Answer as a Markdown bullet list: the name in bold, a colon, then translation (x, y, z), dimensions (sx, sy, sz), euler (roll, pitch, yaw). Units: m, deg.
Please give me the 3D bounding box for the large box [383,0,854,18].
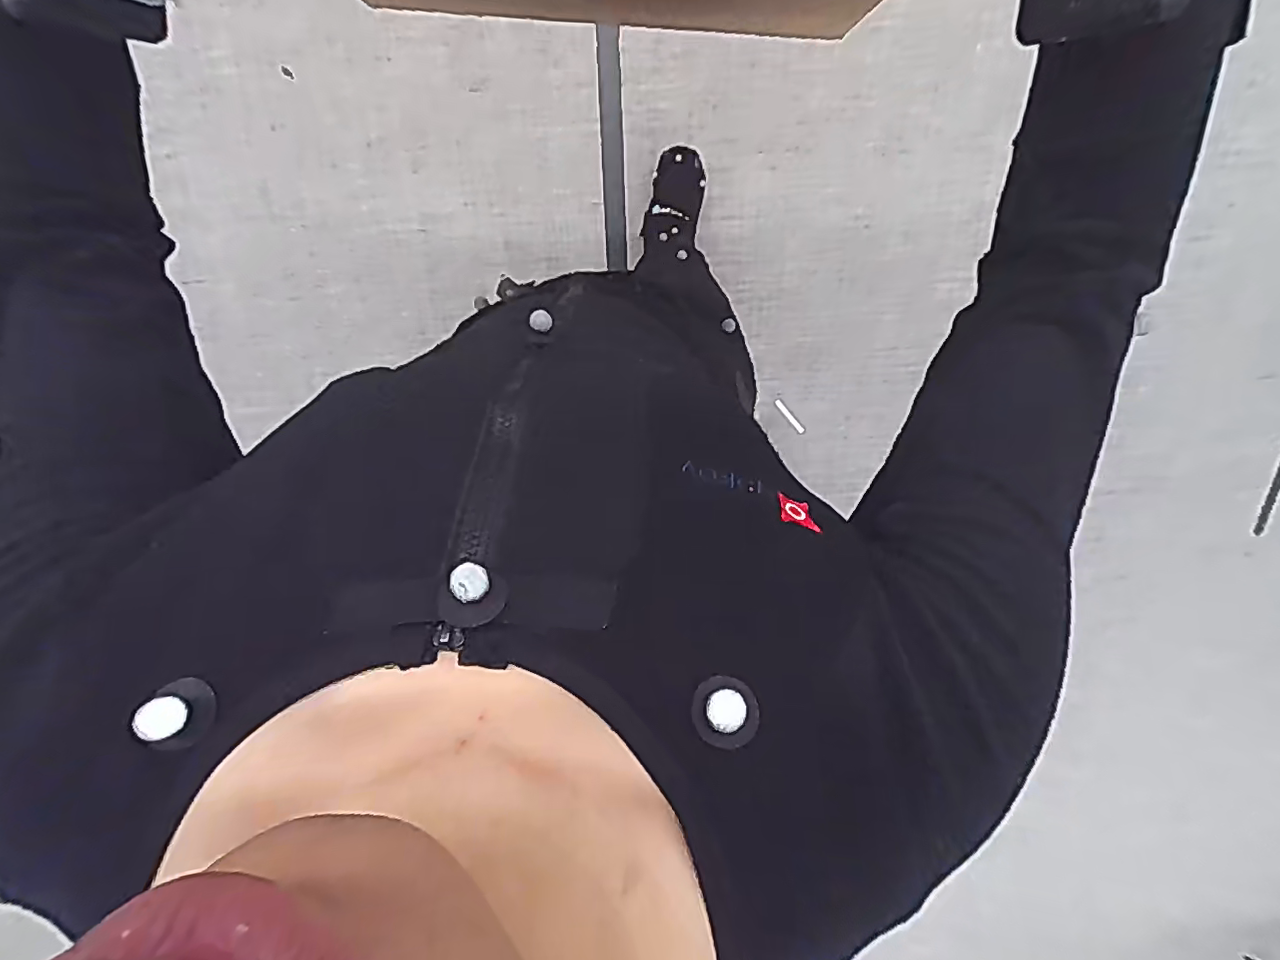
- **large box**: translation (-0.017, -0.477, 0.263), dimensions (0.408, 0.320, 0.320), euler (1, 114, -2)
